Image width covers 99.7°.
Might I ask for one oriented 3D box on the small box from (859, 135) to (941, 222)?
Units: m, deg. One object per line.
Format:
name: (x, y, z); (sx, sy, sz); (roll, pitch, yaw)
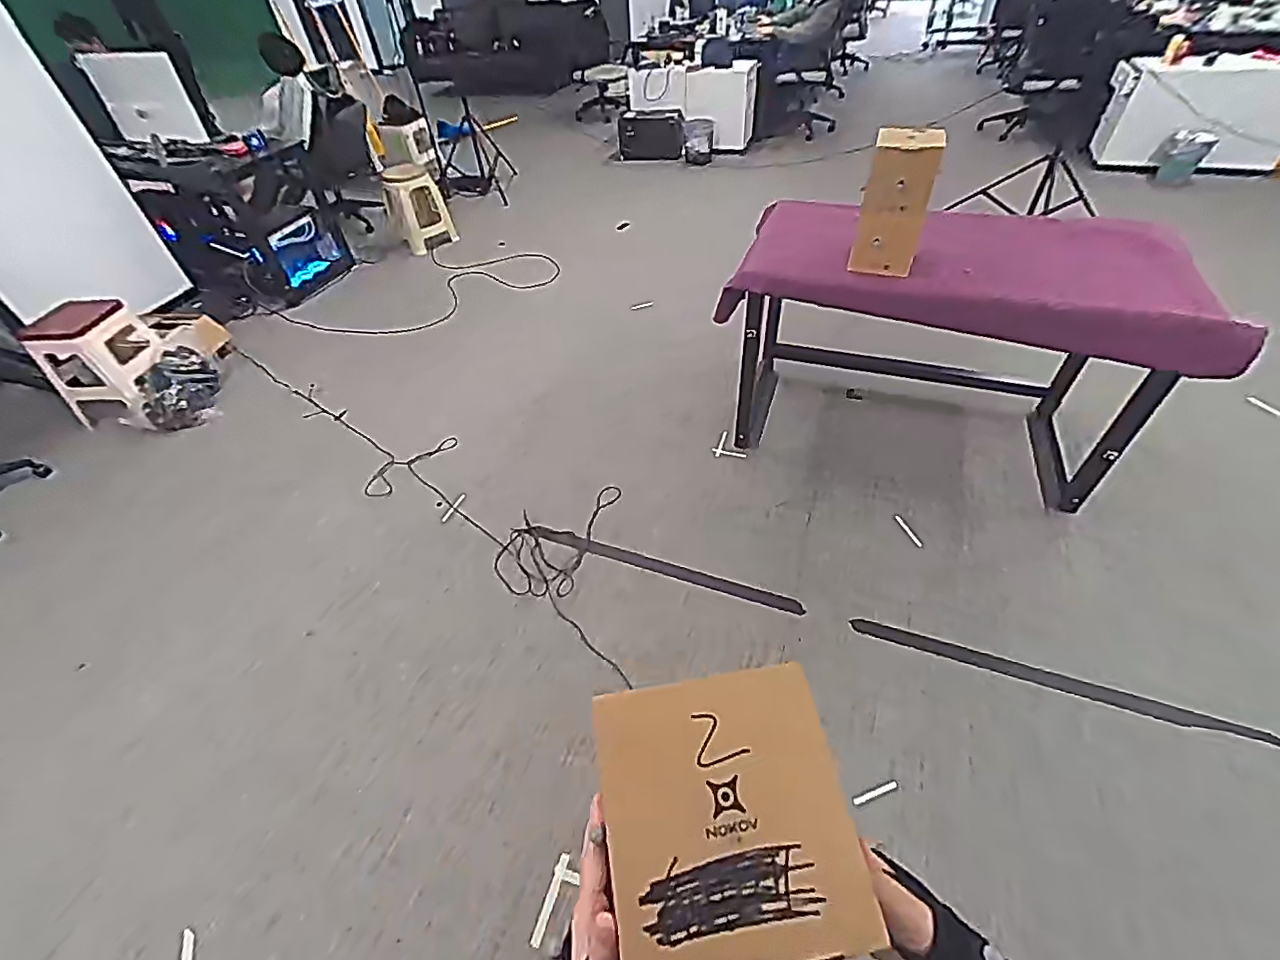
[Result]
small box: (0.708, -0.825, 1.481); (0.168, 0.176, 0.179); (13, 48, 16)

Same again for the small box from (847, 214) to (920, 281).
small box: (0.718, -0.706, 1.594); (0.168, 0.176, 0.179); (14, 48, 17)
